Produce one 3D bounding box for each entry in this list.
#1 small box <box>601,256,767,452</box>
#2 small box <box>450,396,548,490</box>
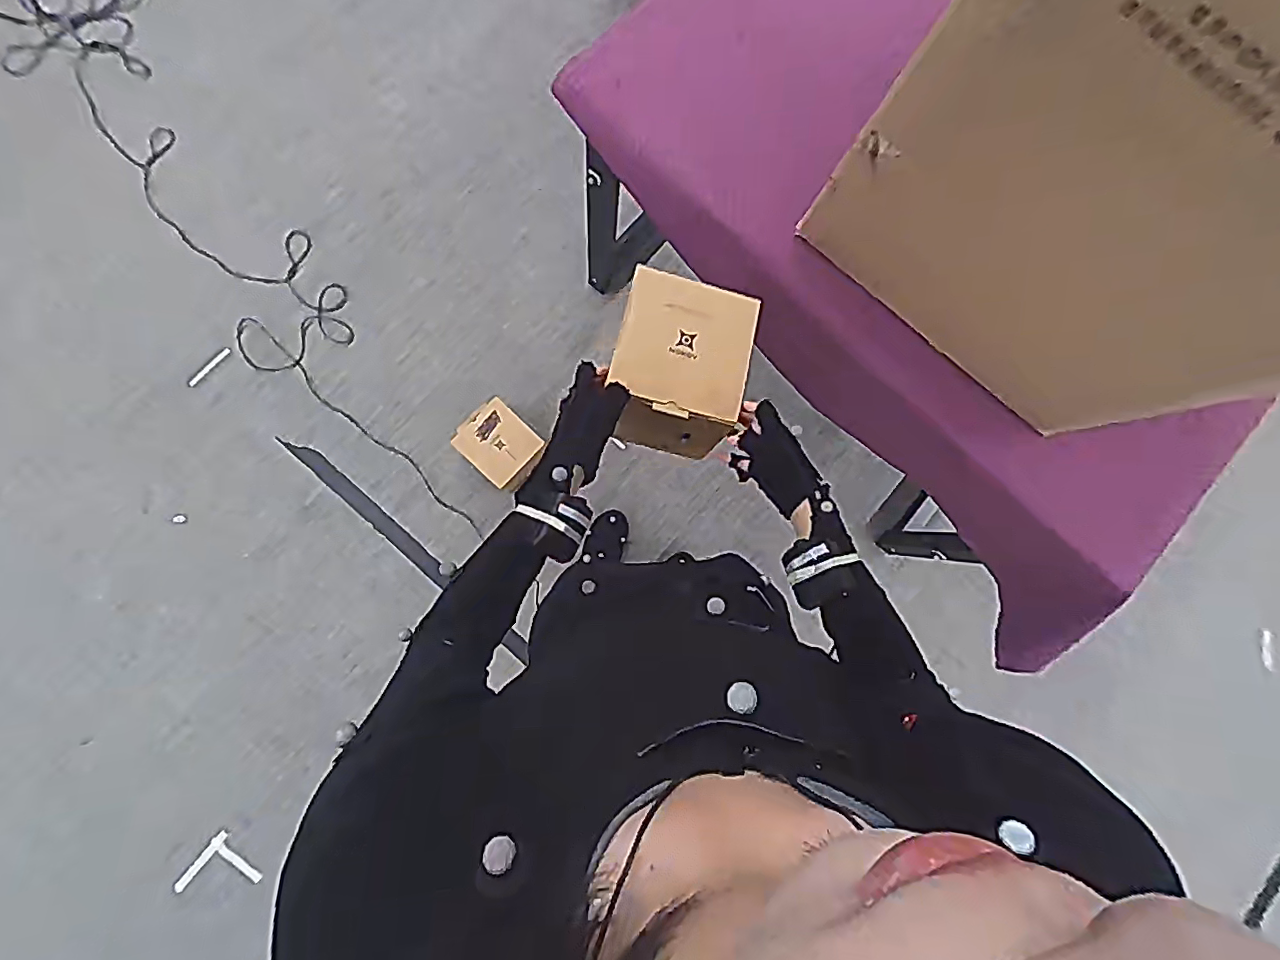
[{"bbox_3d":[0.048,-0.152,0.717,0.168,0.176,0.179,15,75,-7],"label":"small box"},{"bbox_3d":[-0.362,-0.089,1.425,0.179,0.176,0.168,44,83,0],"label":"small box"}]
